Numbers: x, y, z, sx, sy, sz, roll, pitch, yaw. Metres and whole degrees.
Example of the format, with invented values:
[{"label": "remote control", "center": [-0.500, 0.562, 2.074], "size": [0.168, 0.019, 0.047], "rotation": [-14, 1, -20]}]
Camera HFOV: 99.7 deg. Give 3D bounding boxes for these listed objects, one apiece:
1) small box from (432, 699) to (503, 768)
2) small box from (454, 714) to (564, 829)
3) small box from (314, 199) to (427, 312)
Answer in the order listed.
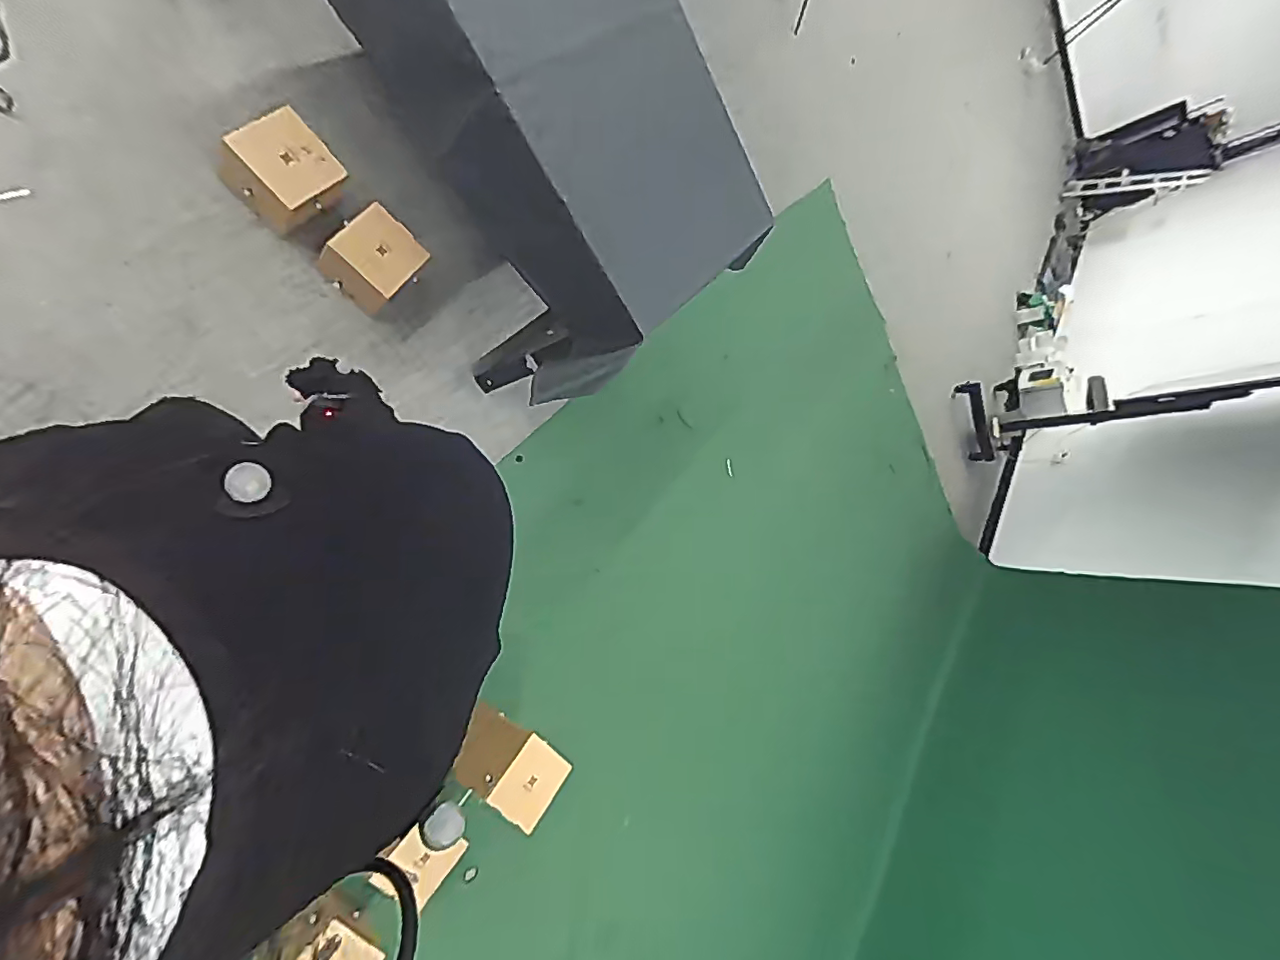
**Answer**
[{"label": "small box", "center": [-0.440, 0.730, 1.494], "size": [0.168, 0.176, 0.179], "rotation": [-50, 118, -31]}, {"label": "small box", "center": [-0.334, 0.726, 1.369], "size": [0.179, 0.176, 0.168], "rotation": [-51, 120, -30]}, {"label": "small box", "center": [-0.678, -0.553, 1.351], "size": [0.168, 0.176, 0.179], "rotation": [45, 60, -30]}]
